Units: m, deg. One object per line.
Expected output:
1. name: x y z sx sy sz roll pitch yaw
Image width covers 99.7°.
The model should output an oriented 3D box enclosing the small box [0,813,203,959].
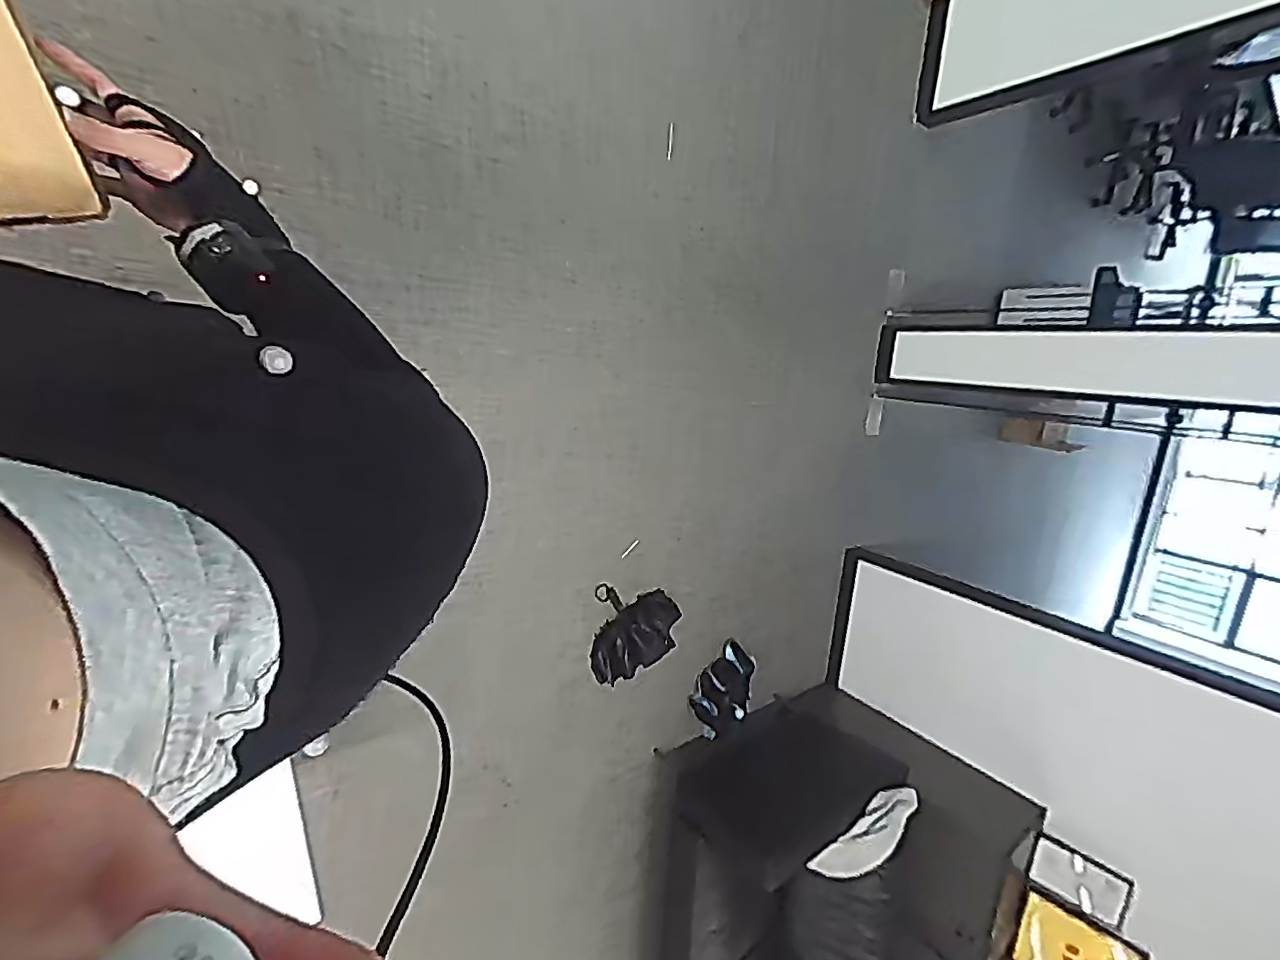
1. small box: -0.732 0.620 0.753 0.168 0.176 0.179 -15 113 -34

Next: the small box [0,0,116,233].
1. small box: -0.487 -0.262 0.353 0.168 0.176 0.179 -25 128 -33
